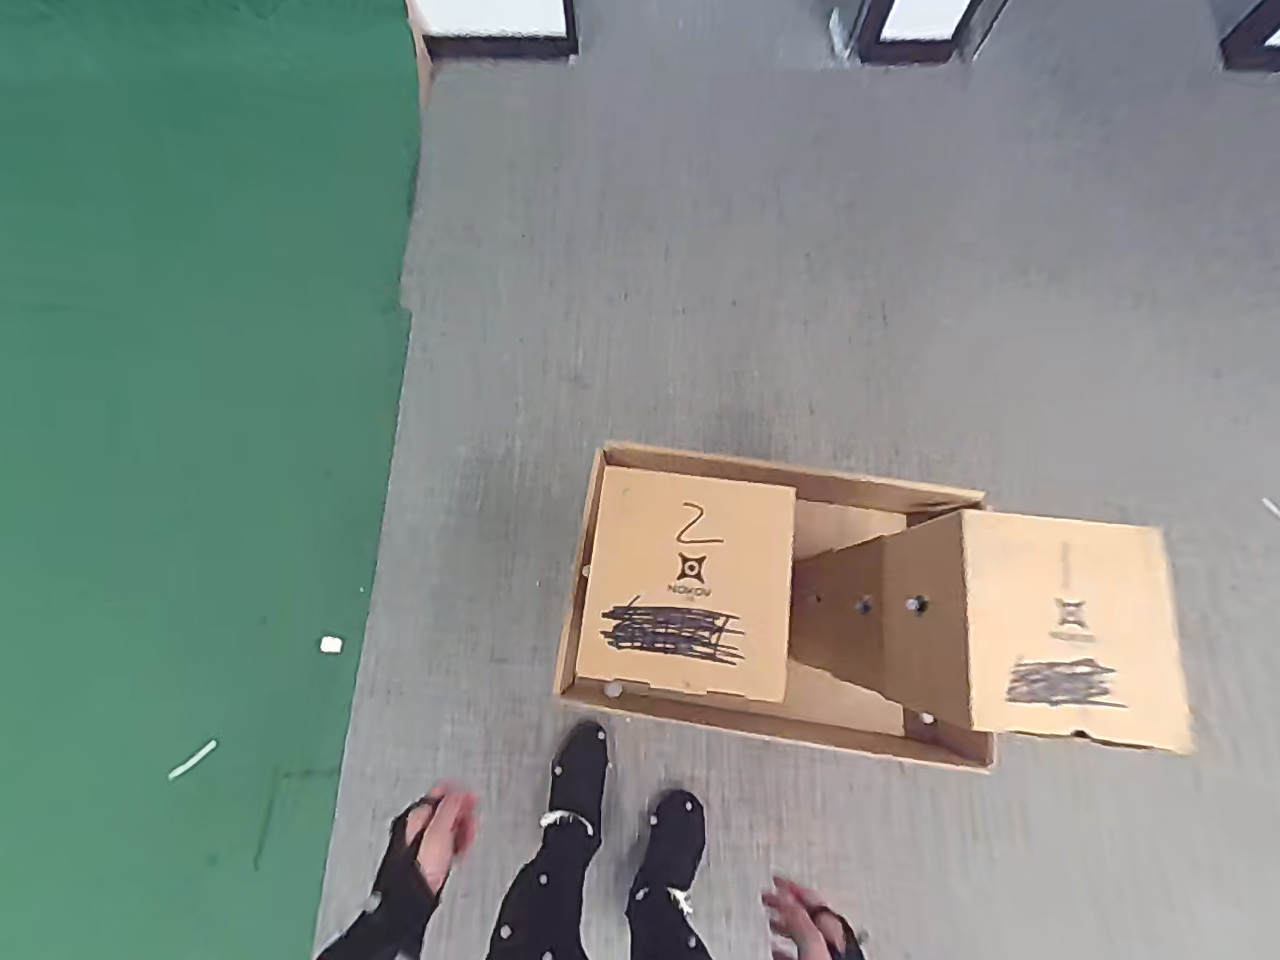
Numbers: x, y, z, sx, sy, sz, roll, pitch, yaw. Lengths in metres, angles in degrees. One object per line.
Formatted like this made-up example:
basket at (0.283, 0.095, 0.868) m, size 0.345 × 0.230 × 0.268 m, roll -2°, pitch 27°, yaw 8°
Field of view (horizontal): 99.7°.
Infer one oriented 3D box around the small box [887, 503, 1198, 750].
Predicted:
small box at (0.348, 0.131, 0.507) m, size 0.168 × 0.176 × 0.179 m, roll 6°, pitch 75°, yaw 2°

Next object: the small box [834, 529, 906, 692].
small box at (0.349, 0.167, 0.666) m, size 0.168 × 0.176 × 0.179 m, roll 6°, pitch 76°, yaw 2°
